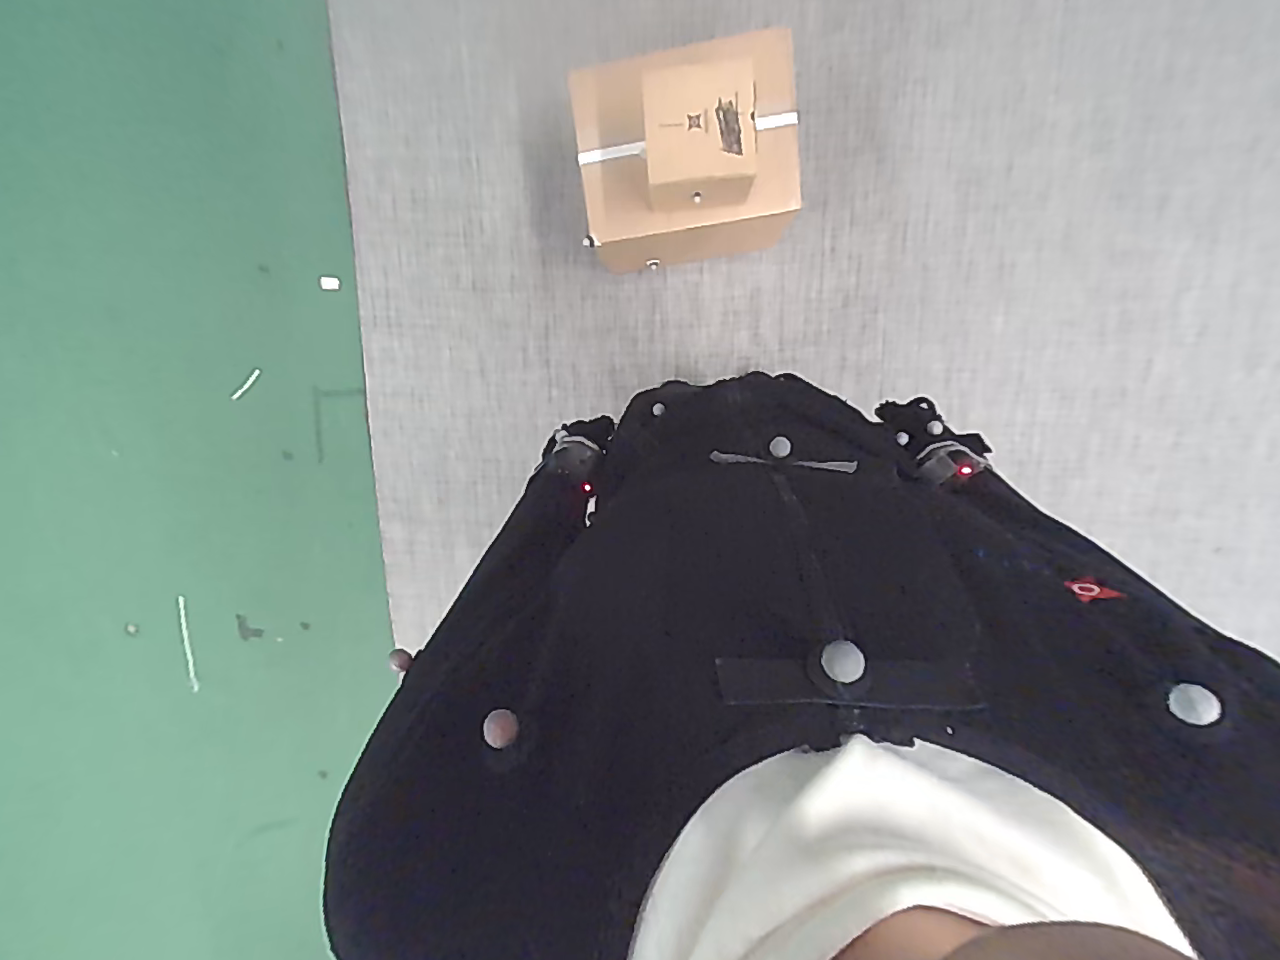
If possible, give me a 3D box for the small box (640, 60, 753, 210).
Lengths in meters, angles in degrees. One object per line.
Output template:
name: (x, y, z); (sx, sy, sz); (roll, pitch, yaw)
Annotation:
small box: (0.096, -0.581, 0.934); (0.179, 0.176, 0.168); (-2, 101, 6)
